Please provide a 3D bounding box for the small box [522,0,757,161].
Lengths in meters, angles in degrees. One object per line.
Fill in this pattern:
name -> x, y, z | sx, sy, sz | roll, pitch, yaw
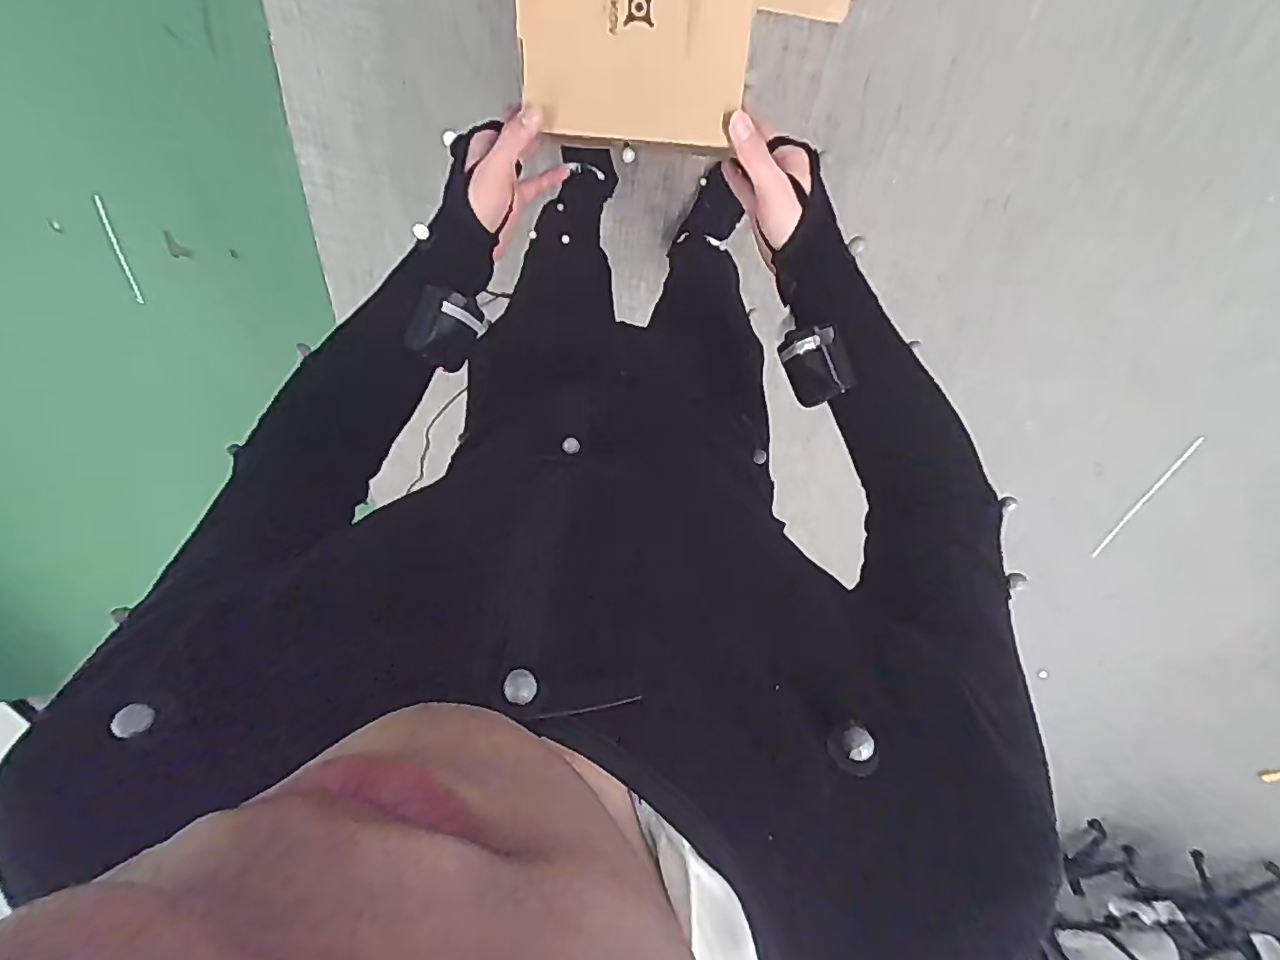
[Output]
small box -> 0.006, -0.382, 0.470 | 0.179, 0.176, 0.168 | 7, 119, 3
